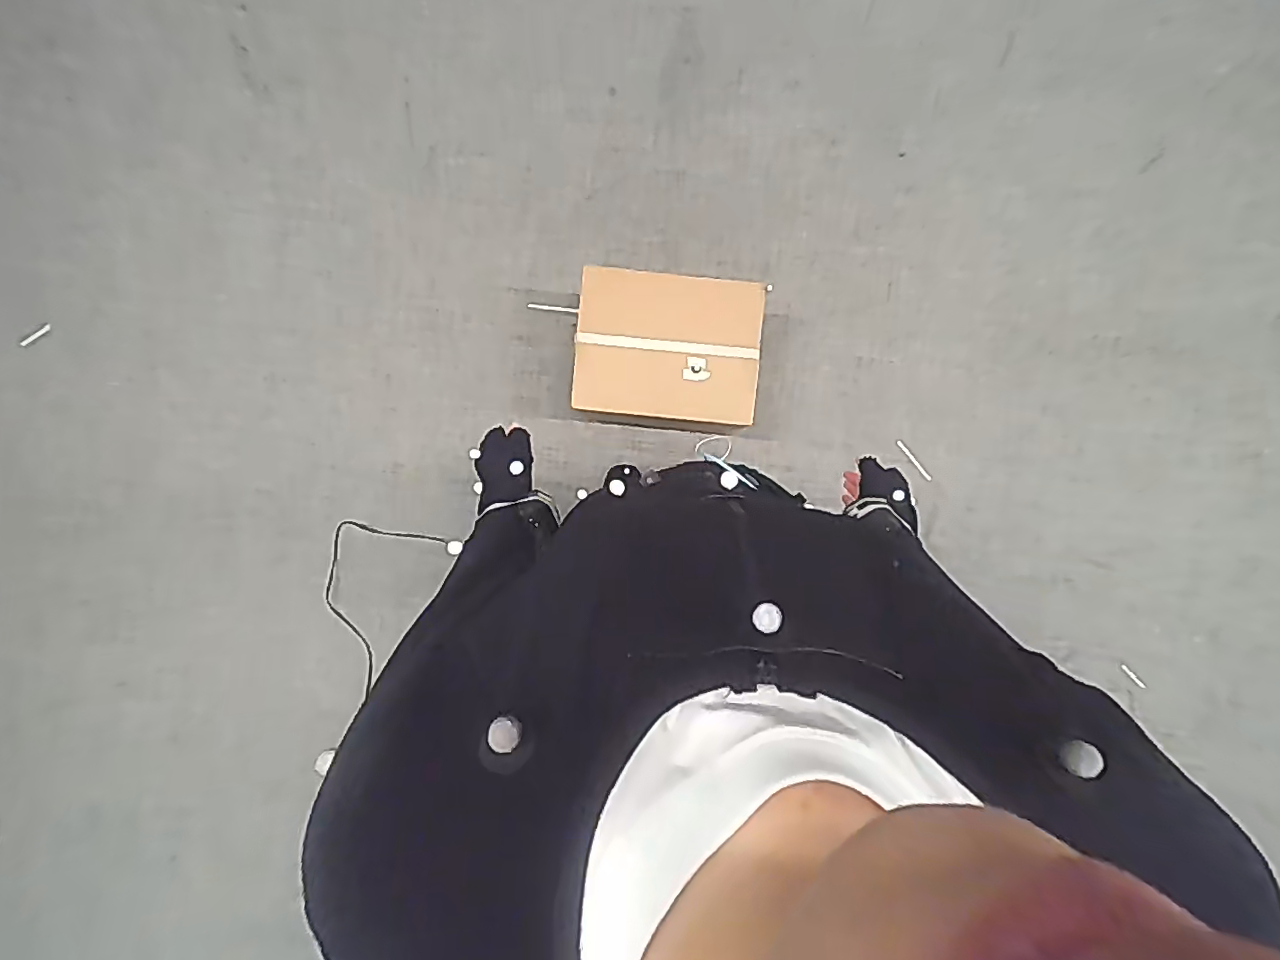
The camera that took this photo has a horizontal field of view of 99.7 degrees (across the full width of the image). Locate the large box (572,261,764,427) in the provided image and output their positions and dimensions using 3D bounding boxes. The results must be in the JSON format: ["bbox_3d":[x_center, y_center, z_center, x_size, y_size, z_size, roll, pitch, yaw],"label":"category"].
[{"bbox_3d":[0.056,-0.309,1.325,0.408,0.320,0.320,6,92,-1],"label":"large box"}]
